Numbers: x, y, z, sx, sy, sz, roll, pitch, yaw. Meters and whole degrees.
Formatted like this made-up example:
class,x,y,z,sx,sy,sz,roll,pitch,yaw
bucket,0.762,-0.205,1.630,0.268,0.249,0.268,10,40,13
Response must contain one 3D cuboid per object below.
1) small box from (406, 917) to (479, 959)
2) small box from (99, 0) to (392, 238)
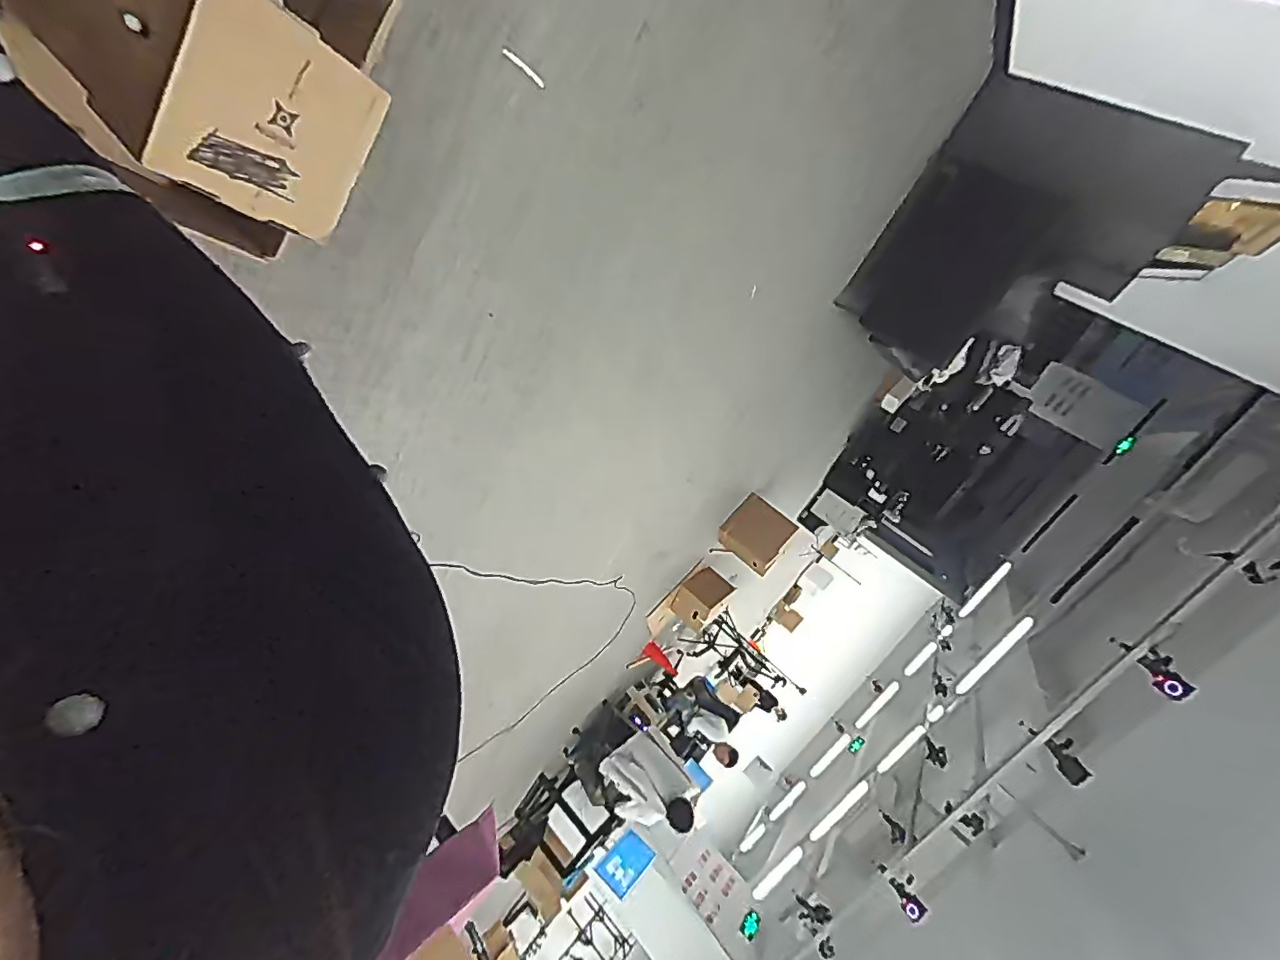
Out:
class,x,y,z,sx,sy,sz,roll,pitch,yaw
small box,-0.637,1.529,1.679,0.179,0.176,0.168,-5,132,-58
small box,-0.393,-0.387,0.540,0.179,0.176,0.168,-56,155,14
